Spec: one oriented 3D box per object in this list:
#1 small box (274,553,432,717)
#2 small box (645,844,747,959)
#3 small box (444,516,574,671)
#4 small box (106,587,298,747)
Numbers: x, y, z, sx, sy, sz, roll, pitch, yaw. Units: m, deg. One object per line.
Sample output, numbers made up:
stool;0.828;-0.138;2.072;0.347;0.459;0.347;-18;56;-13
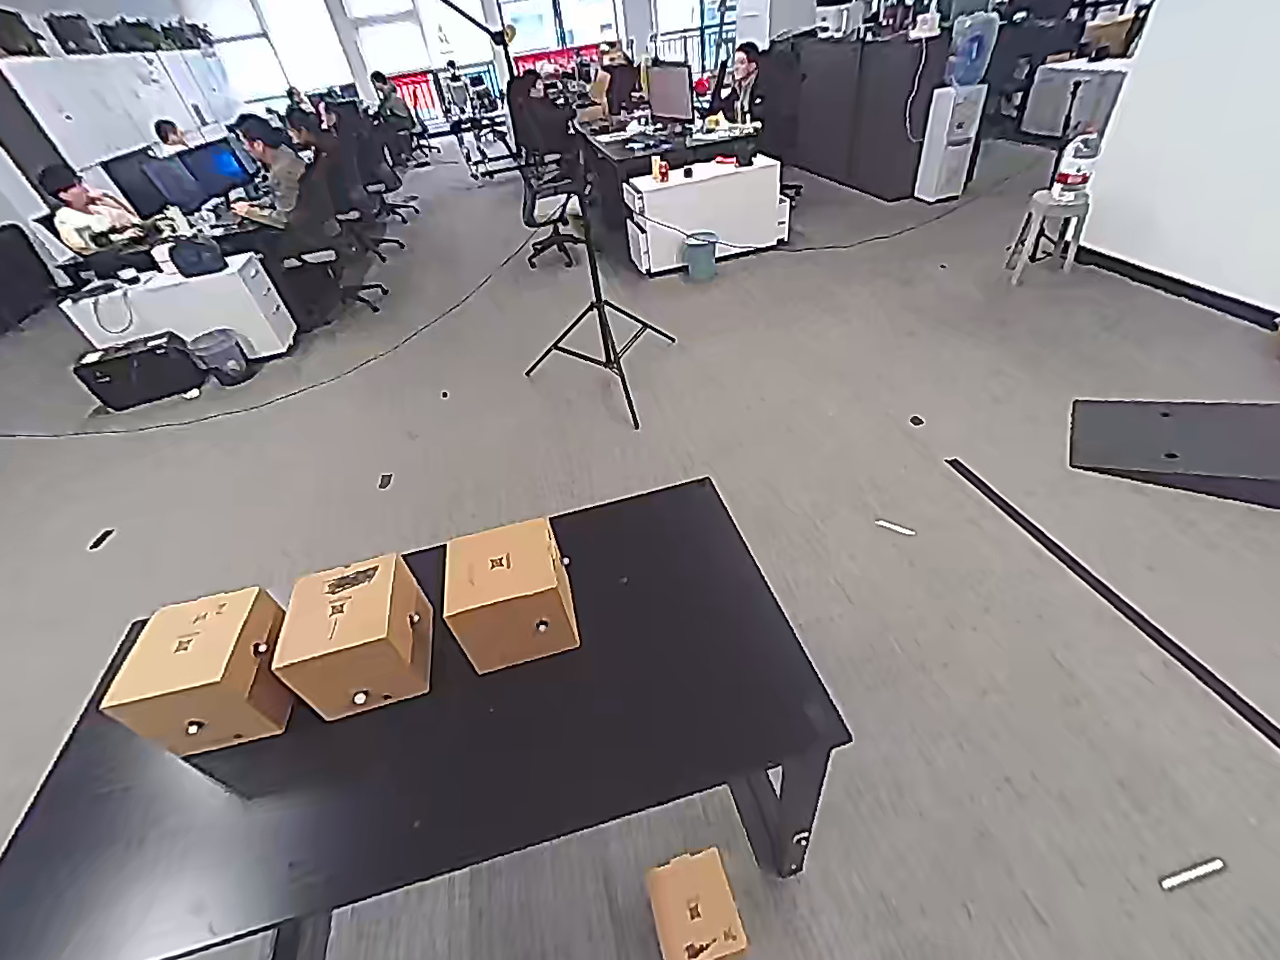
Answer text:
small box;-0.455;0.254;0.891;0.168;0.176;0.179;-15;42;-7
small box;0.117;0.916;1.141;0.168;0.176;0.179;-16;41;-6
small box;-0.216;0.193;0.921;0.179;0.176;0.168;-15;40;-5
small box;-0.673;0.306;0.872;0.168;0.176;0.179;-12;40;-5
